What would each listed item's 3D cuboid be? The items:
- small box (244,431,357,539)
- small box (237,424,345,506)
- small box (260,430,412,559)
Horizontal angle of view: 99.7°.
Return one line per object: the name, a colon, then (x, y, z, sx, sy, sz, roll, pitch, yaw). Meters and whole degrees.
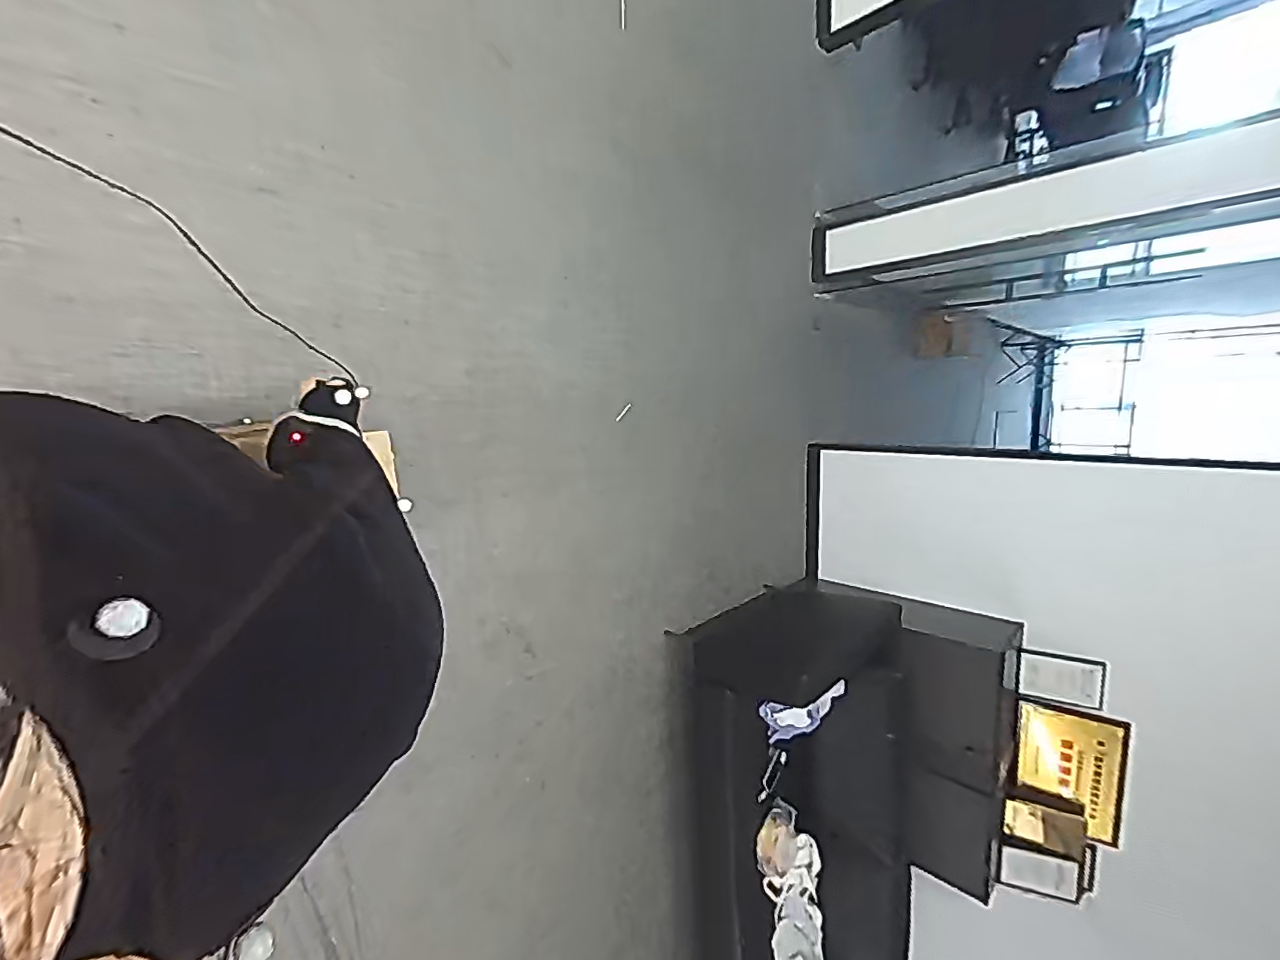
small box: (-0.609, 0.000, 1.000, 0.179, 0.176, 0.168, -15, 105, -43)
small box: (-0.713, -0.022, 1.124, 0.168, 0.176, 0.179, -15, 106, -42)
small box: (-0.496, 0.013, 0.880, 0.168, 0.176, 0.179, -13, 104, -43)
